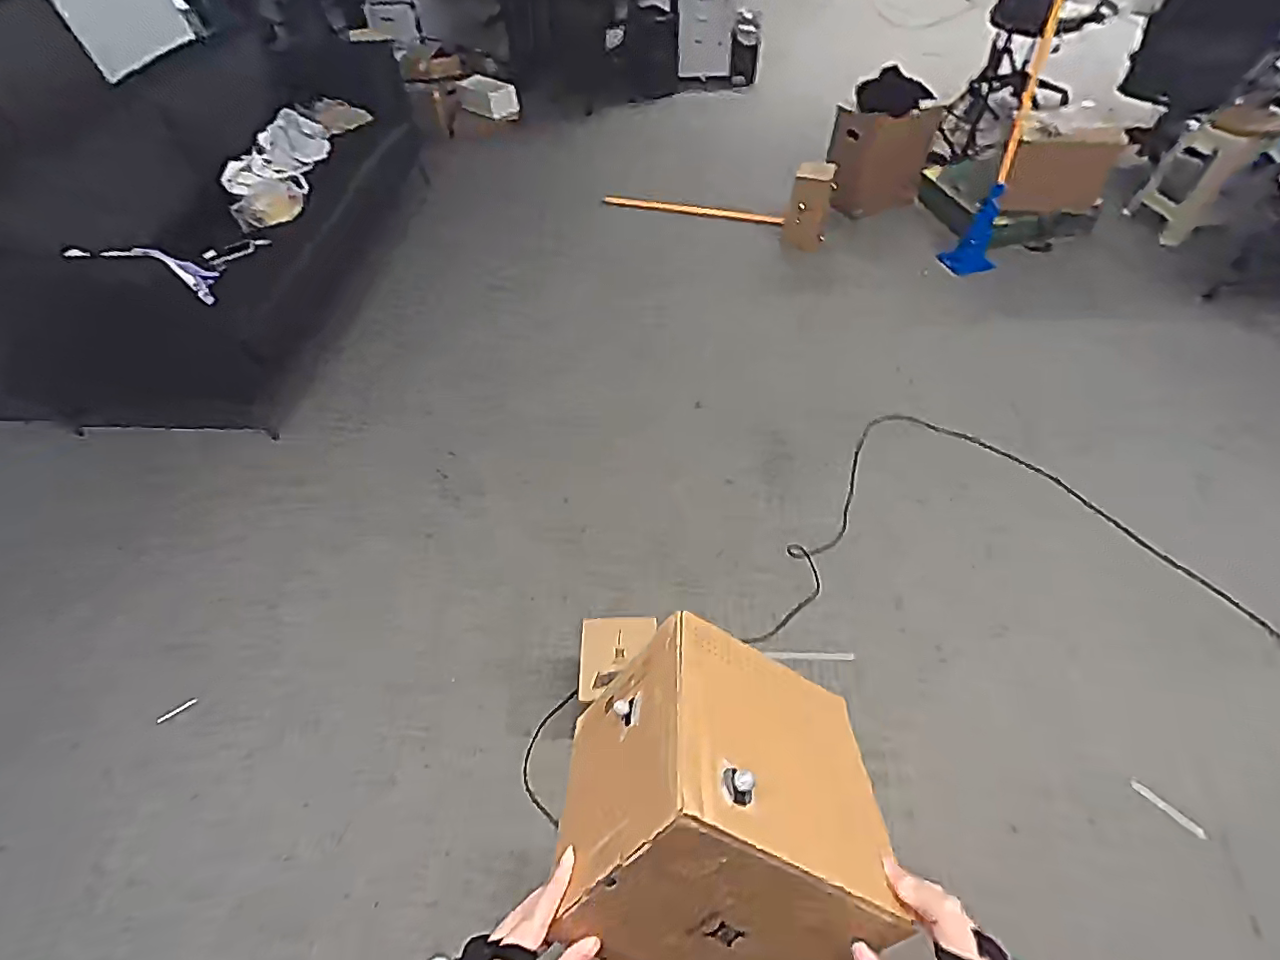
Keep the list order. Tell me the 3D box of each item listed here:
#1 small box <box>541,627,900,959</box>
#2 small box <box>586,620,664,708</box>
[{"bbox_3d":[0.054,0.248,0.421,0.179,0.168,0.176,31,24,-9],"label":"small box"},{"bbox_3d":[-0.021,0.432,1.210,0.168,0.176,0.179,-3,51,3],"label":"small box"}]
